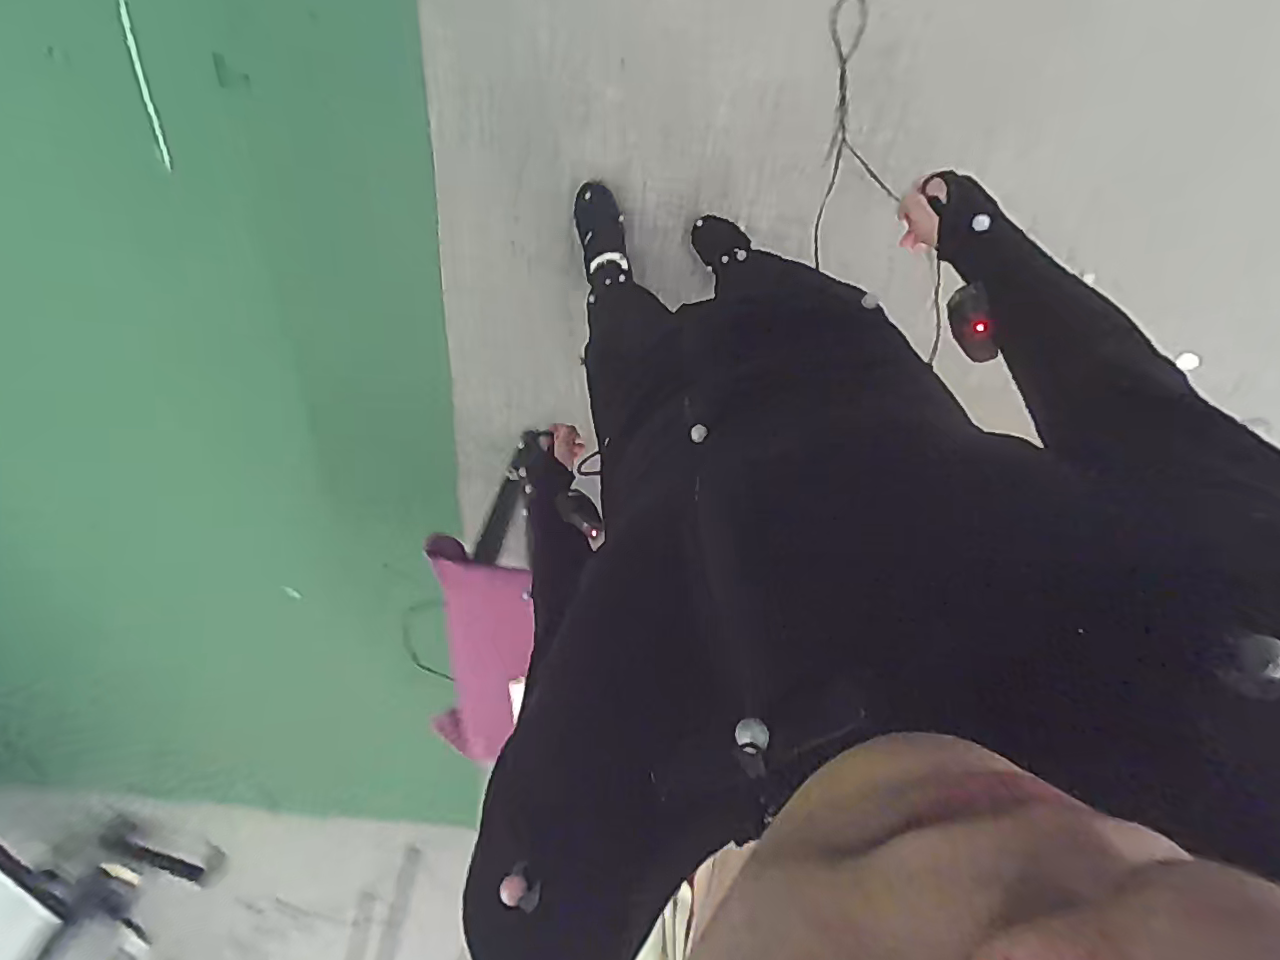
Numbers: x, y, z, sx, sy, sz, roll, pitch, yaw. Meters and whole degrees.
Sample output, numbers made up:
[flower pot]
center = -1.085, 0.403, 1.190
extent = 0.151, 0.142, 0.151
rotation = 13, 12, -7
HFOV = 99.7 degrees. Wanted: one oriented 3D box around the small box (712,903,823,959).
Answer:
[small box]
center = 0.218, 0.860, 0.918
extent = 0.168, 0.176, 0.179
rotation = 5, 120, 0
